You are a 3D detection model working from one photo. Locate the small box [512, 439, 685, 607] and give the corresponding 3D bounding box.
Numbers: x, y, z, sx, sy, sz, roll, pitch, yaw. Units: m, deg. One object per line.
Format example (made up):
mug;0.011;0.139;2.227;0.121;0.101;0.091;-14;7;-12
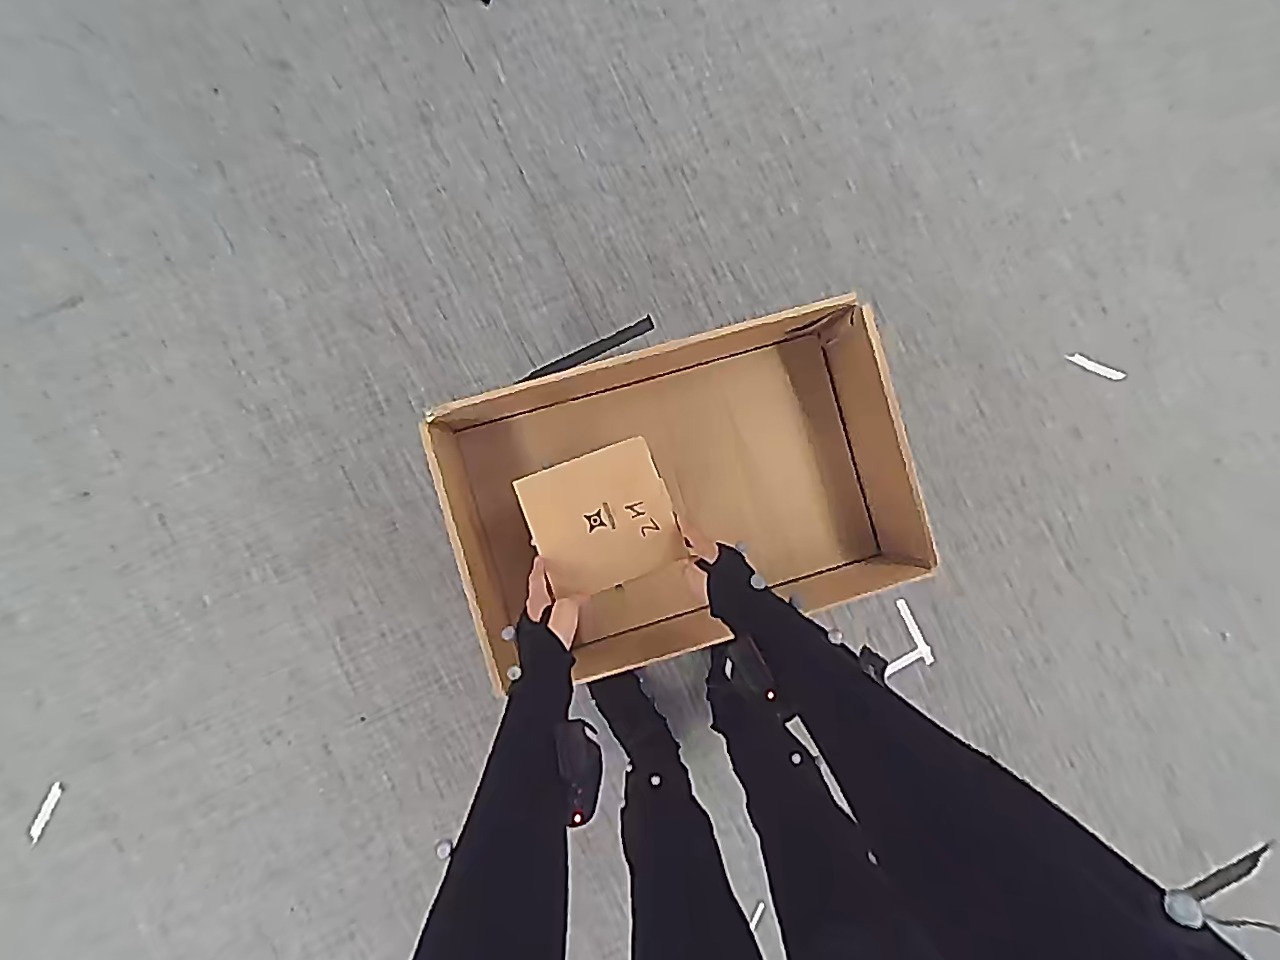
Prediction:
small box;-0.055;0.060;0.742;0.179;0.176;0.168;-20;87;-6
